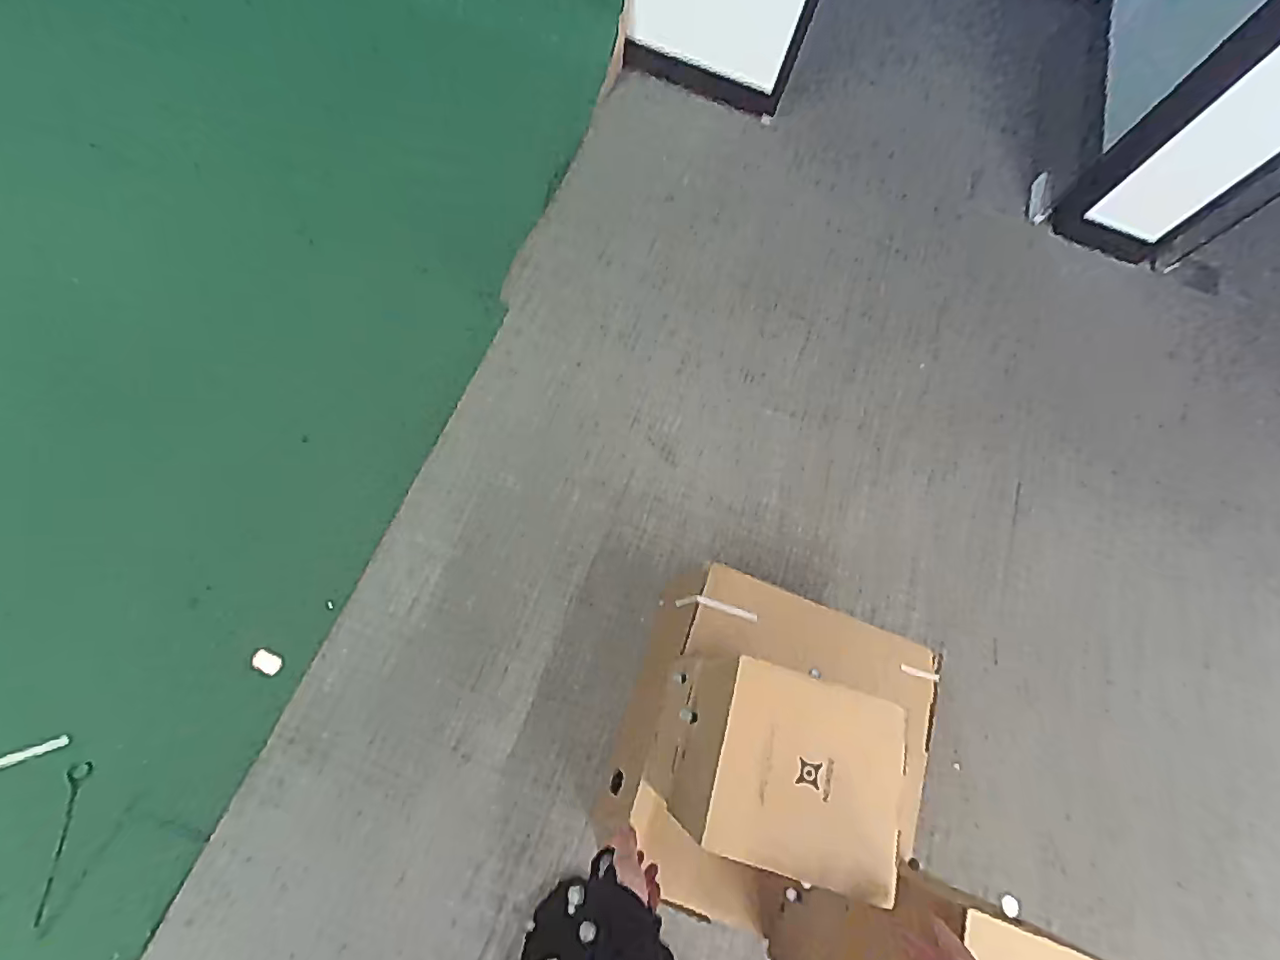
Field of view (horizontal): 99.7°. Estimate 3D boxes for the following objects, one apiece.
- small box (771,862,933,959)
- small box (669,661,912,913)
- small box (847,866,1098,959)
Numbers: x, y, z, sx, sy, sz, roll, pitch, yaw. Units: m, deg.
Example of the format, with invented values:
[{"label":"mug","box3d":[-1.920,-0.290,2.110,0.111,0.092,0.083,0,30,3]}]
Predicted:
[{"label":"small box","box3d":[0.287,0.558,0.658,0.179,0.176,0.168,22,68,0]},{"label":"small box","box3d":[0.145,0.297,0.559,0.179,0.176,0.168,19,67,0]},{"label":"small box","box3d":[0.311,0.500,0.507,0.168,0.176,0.179,23,70,-1]}]
